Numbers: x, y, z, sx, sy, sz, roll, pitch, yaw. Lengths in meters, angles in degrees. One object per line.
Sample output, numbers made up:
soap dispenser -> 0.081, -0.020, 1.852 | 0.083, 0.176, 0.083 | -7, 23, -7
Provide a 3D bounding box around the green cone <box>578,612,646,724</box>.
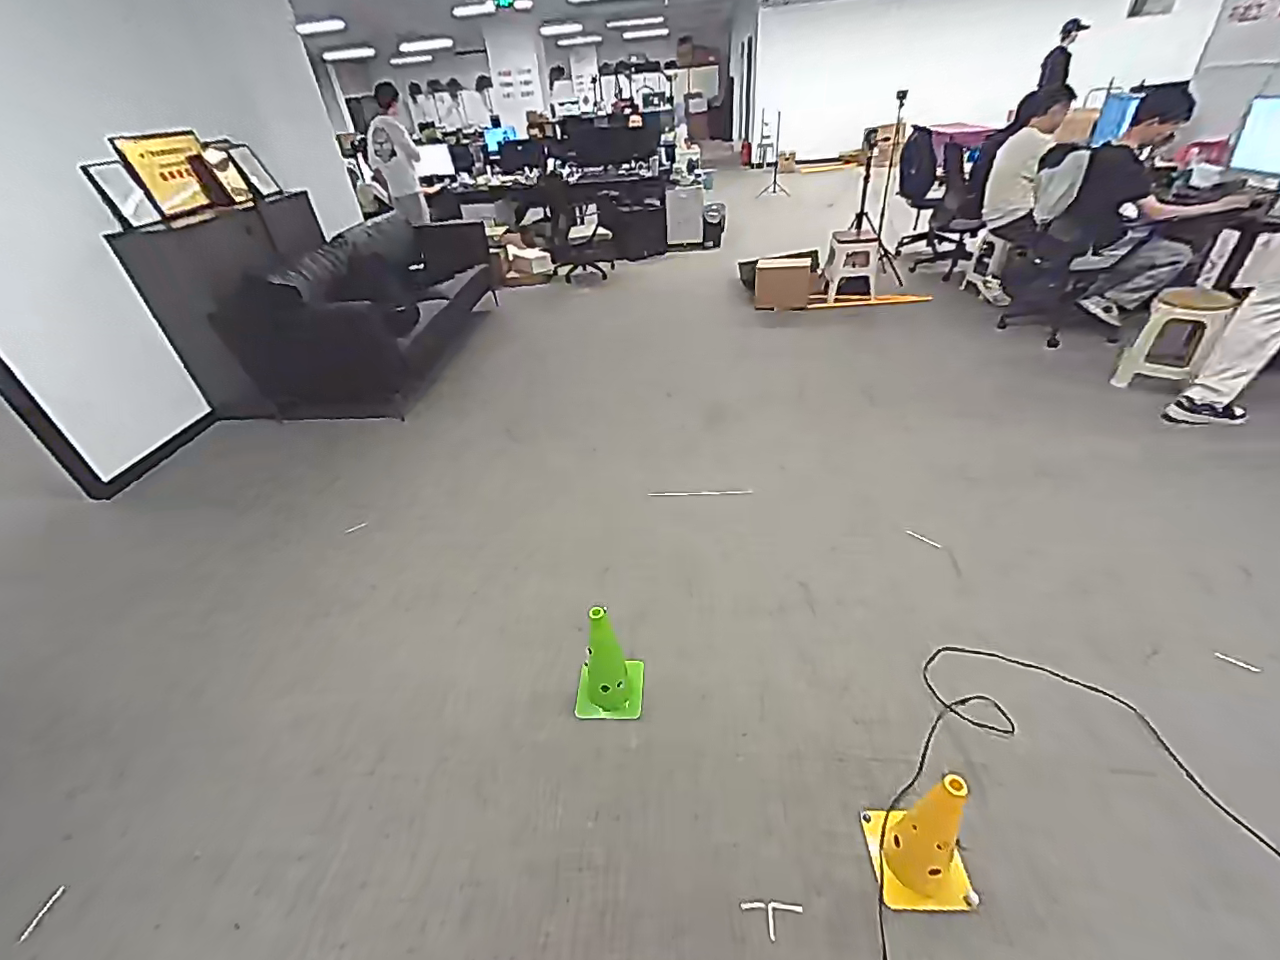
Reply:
green cone -> -0.095, 0.523, 1.572 | 0.202, 0.368, 0.200 | -1, 36, 5
